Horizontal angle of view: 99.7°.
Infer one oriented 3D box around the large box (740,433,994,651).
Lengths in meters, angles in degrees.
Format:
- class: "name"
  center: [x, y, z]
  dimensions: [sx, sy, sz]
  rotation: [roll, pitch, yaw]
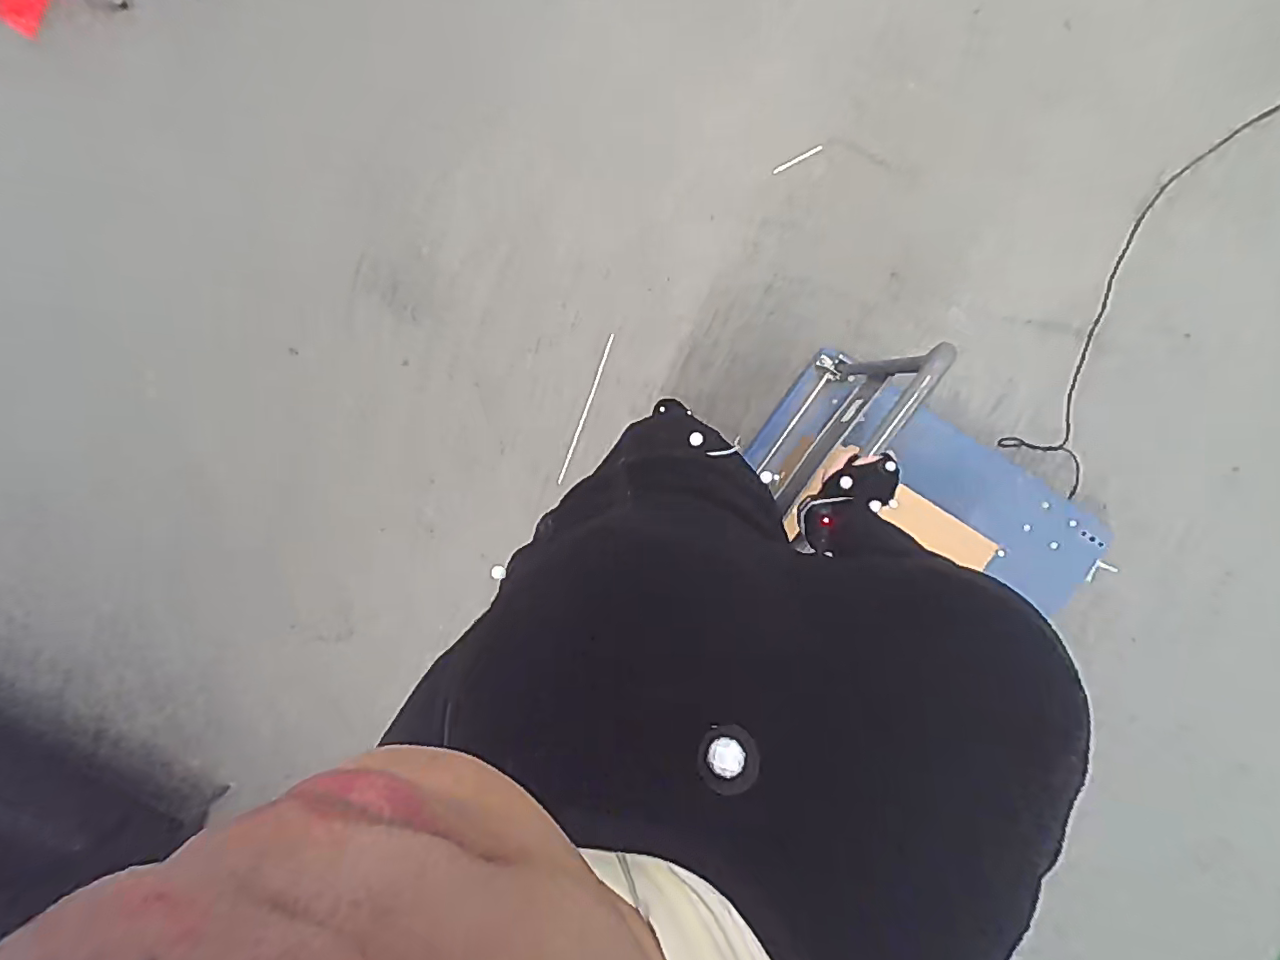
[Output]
- class: "large box"
  center: [0.497, 0.120, 1.284]
  dimensions: [0.408, 0.320, 0.320]
  rotation: [33, 101, 1]
